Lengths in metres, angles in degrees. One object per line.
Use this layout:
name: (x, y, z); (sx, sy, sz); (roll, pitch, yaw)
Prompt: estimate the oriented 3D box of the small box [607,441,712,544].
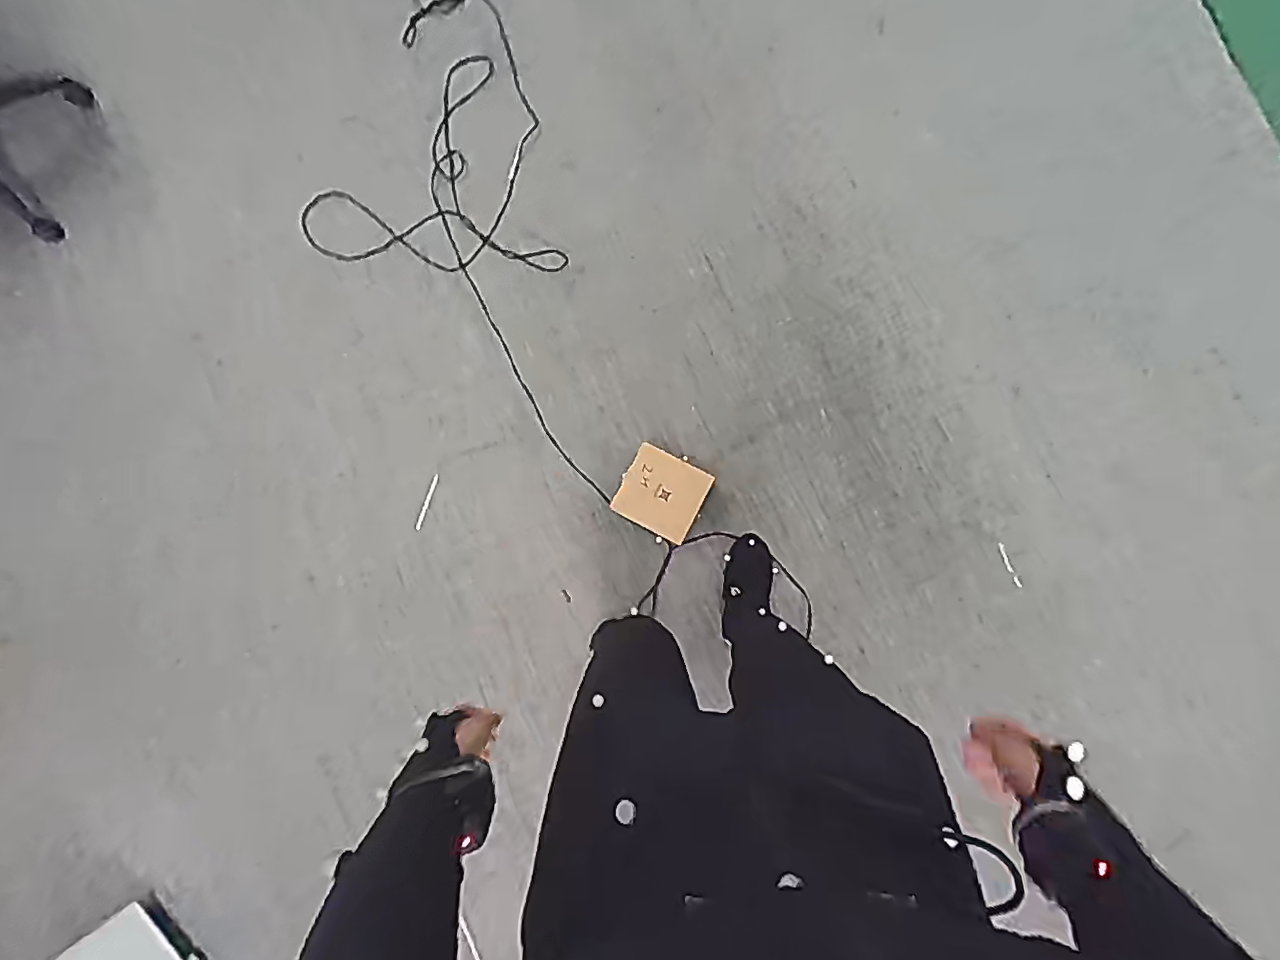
small box: (0.045, 0.029, 1.229); (0.179, 0.176, 0.168); (27, 88, 4)
